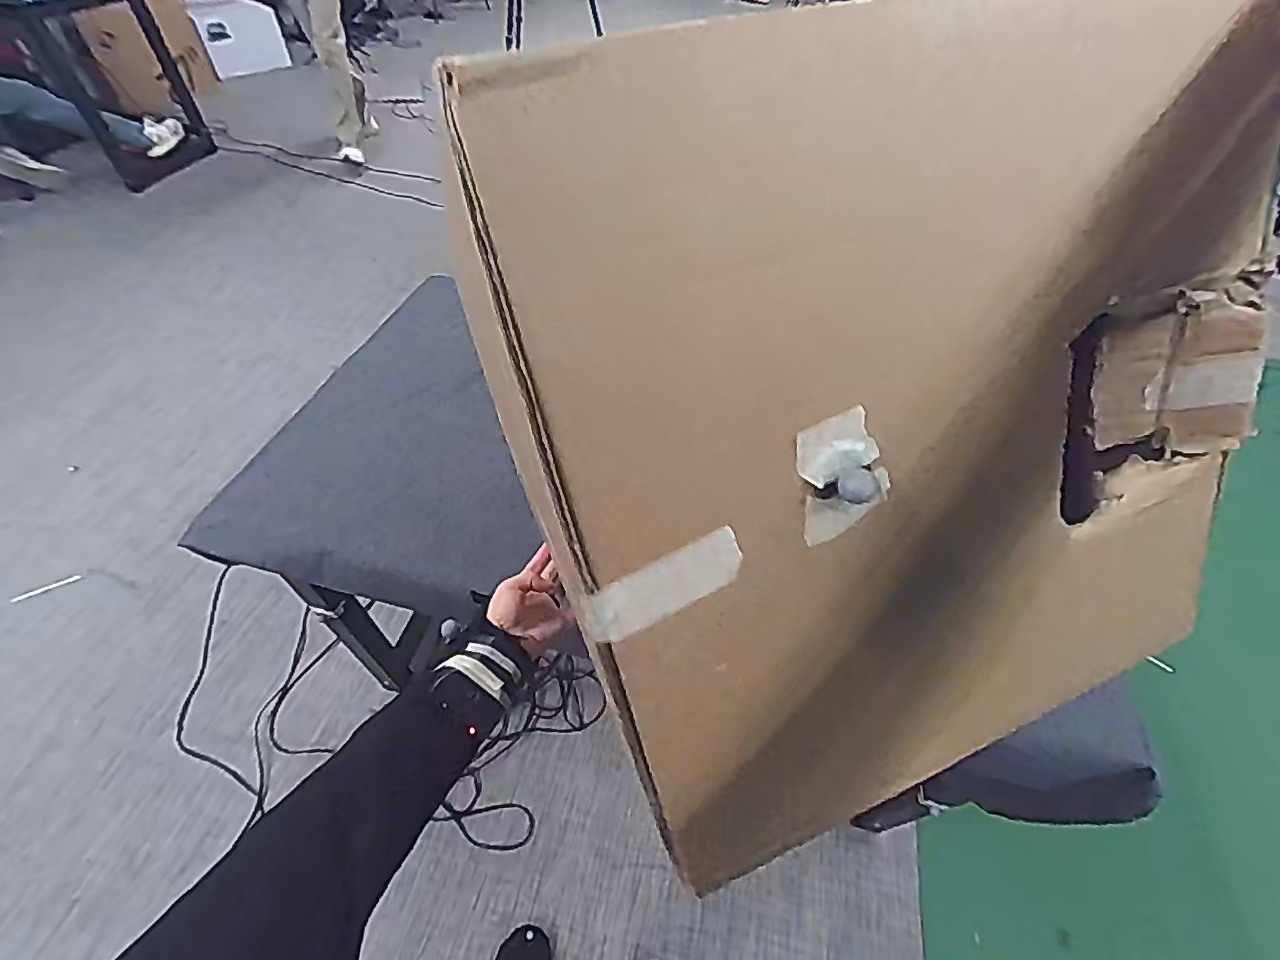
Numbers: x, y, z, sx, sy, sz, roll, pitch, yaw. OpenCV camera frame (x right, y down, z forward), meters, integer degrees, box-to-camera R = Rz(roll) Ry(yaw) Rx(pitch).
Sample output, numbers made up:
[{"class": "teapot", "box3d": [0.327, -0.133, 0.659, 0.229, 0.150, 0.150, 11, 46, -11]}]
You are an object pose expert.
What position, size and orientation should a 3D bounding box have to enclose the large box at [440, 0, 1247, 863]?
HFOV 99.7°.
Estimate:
[{"class": "large box", "box3d": [0.063, -0.058, 0.400, 0.320, 0.320, 0.408, -20, 23, -14]}]
